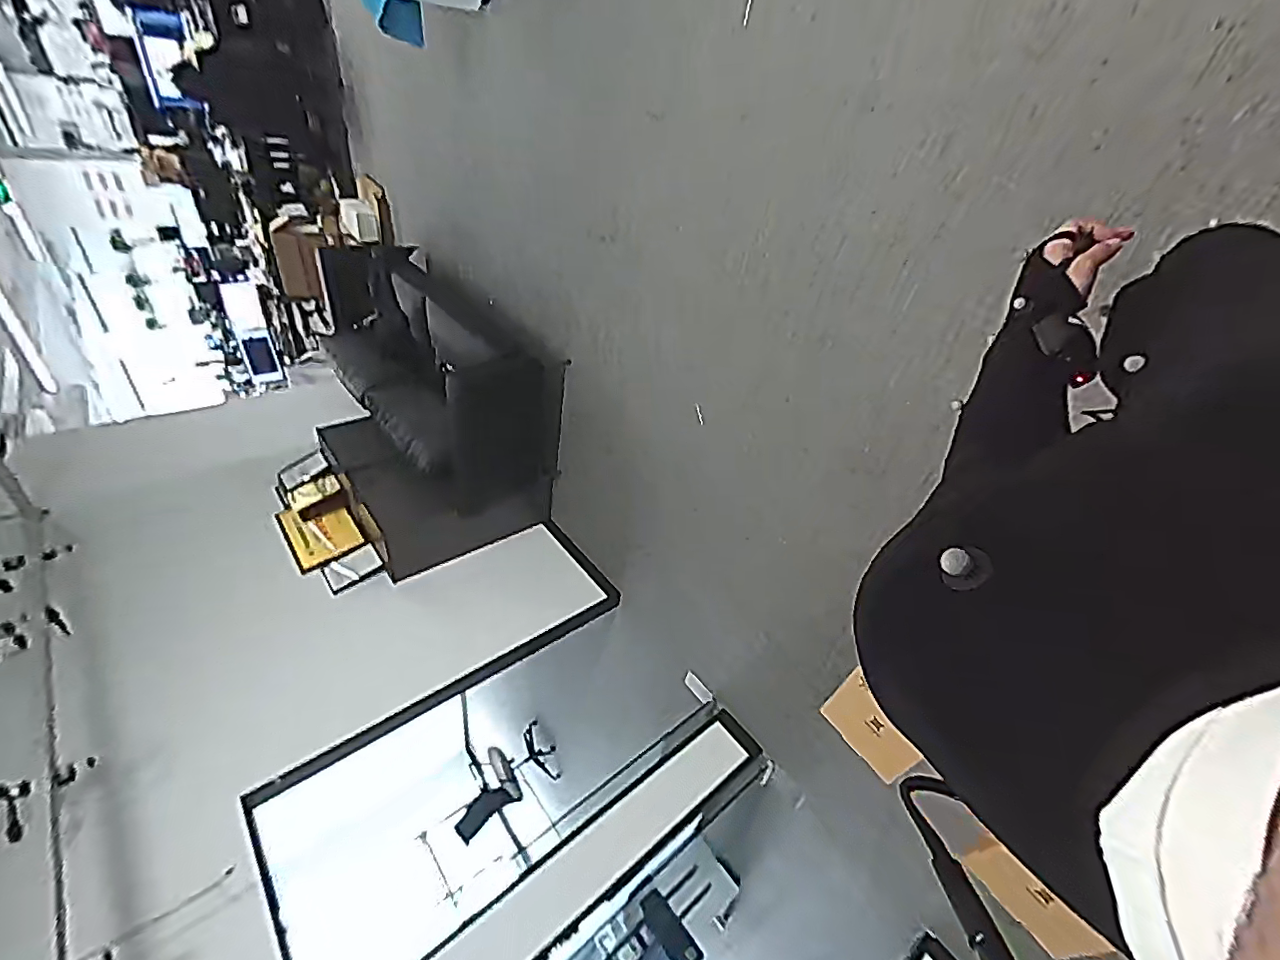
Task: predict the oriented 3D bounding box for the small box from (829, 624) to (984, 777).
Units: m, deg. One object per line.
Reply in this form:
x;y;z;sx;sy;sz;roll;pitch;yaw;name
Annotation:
0.497;0.406;1.012;0.168;0.176;0.179;45;139;31;small box

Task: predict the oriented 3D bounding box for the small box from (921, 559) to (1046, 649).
0.749;0.309;1.200;0.168;0.176;0.179;46;139;30;small box

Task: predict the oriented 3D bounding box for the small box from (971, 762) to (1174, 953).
0.683;0.591;0.857;0.168;0.176;0.179;46;140;28;small box
